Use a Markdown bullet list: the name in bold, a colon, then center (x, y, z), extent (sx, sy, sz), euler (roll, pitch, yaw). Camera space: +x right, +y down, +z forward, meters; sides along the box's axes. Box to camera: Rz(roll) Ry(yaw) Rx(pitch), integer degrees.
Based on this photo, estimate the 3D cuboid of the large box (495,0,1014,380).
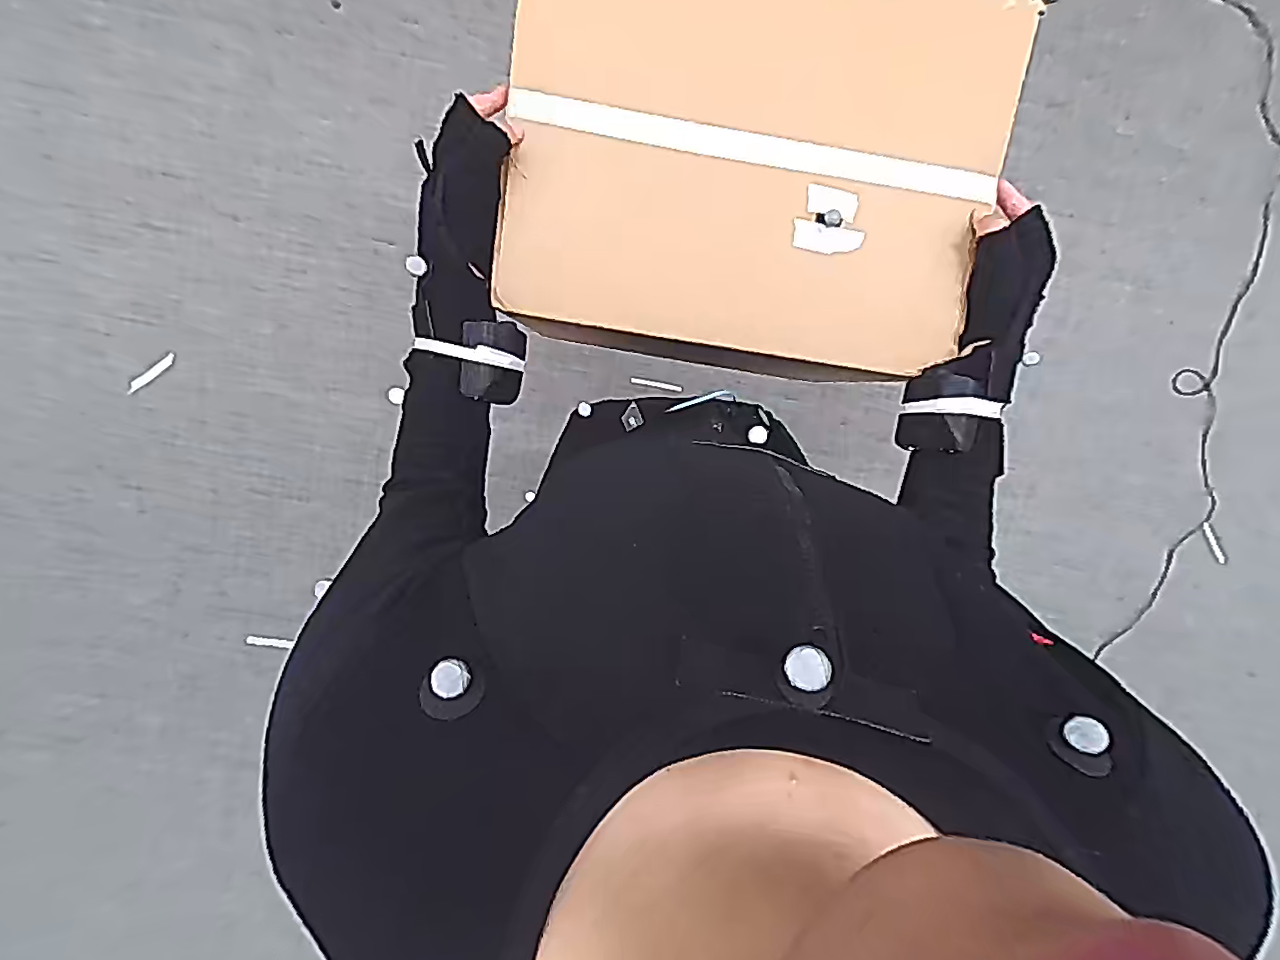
- **large box**: center (0.080, -0.292, 0.596), extent (0.408, 0.320, 0.320), euler (8, 101, -5)
